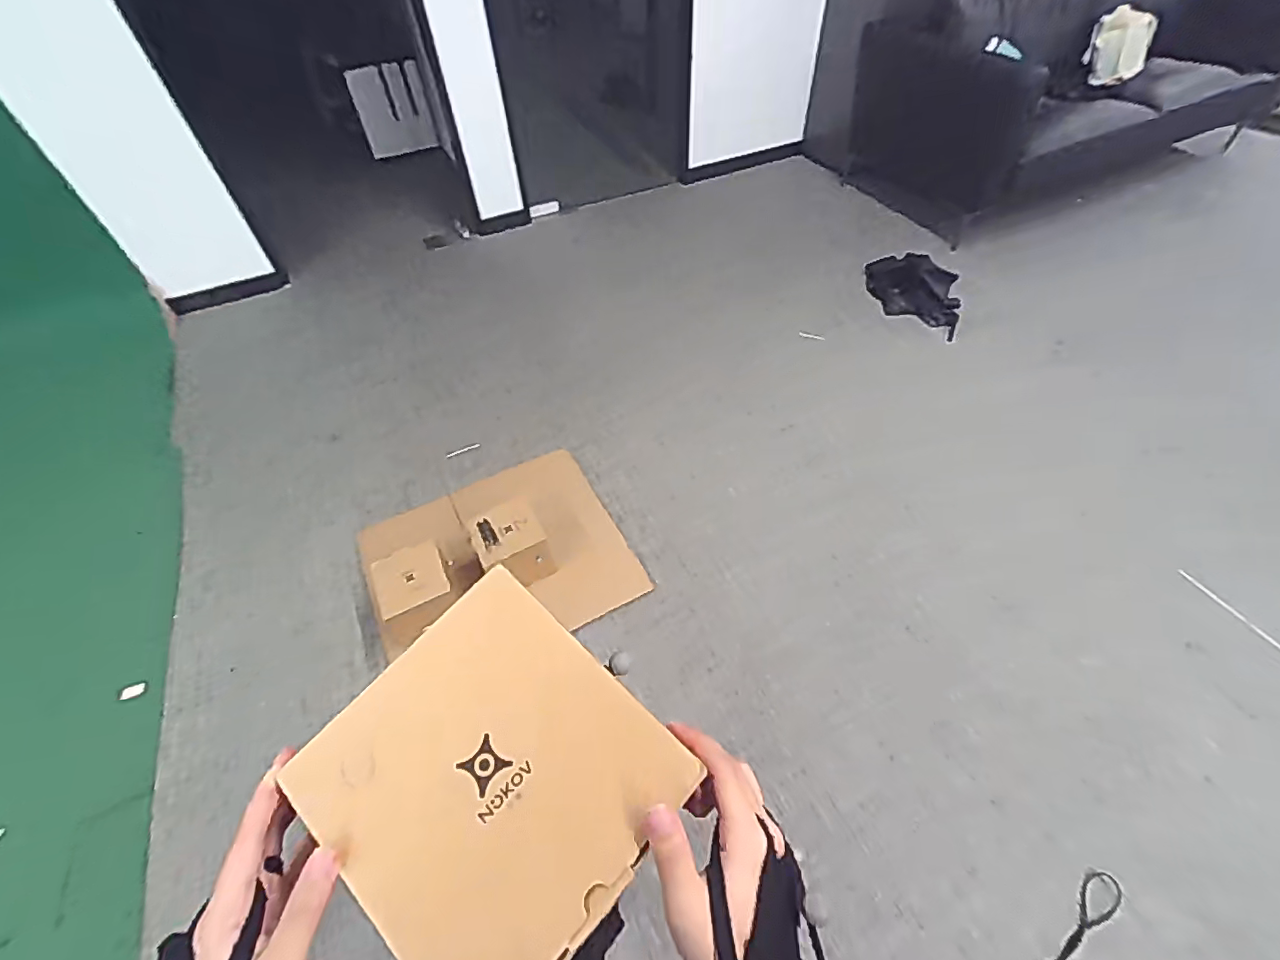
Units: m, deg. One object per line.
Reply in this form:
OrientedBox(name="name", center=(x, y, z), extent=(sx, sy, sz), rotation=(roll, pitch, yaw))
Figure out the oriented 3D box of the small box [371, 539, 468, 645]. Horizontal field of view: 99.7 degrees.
OrientedBox(name="small box", center=(-0.564, 0.291, 1.393), extent=(0.168, 0.176, 0.179), rotation=(-24, 55, -15))
